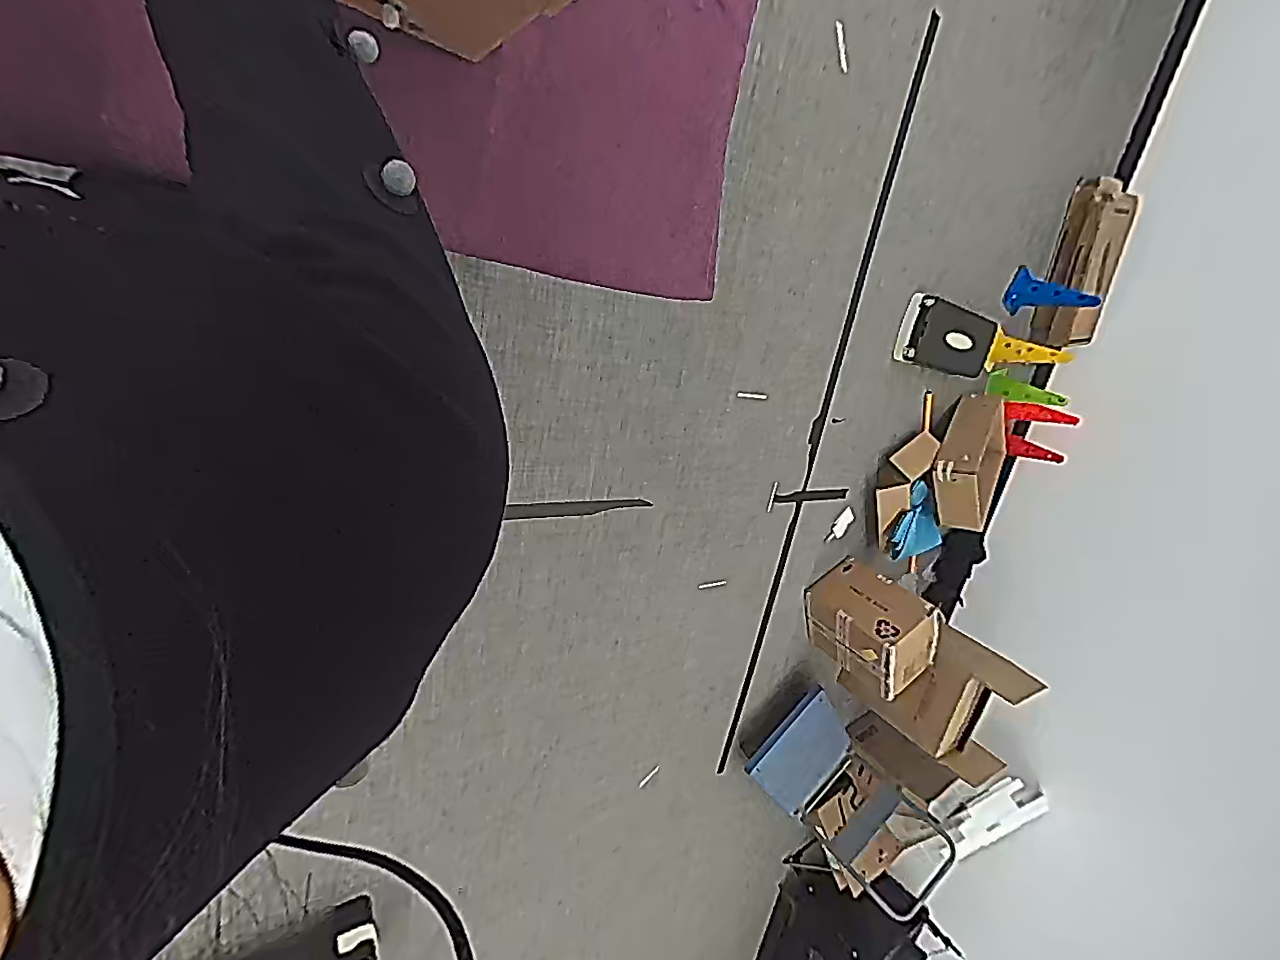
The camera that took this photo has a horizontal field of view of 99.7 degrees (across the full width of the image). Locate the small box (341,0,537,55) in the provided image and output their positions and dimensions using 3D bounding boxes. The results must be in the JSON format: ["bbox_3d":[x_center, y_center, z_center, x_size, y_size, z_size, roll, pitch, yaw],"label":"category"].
[{"bbox_3d":[-0.172,-0.474,0.410,0.168,0.176,0.179,0,111,-36],"label":"small box"}]

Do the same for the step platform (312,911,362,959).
[{"bbox_3d":[-1.188,1.585,1.570,0.684,0.204,0.286,-3,113,-37],"label":"step platform"}]
